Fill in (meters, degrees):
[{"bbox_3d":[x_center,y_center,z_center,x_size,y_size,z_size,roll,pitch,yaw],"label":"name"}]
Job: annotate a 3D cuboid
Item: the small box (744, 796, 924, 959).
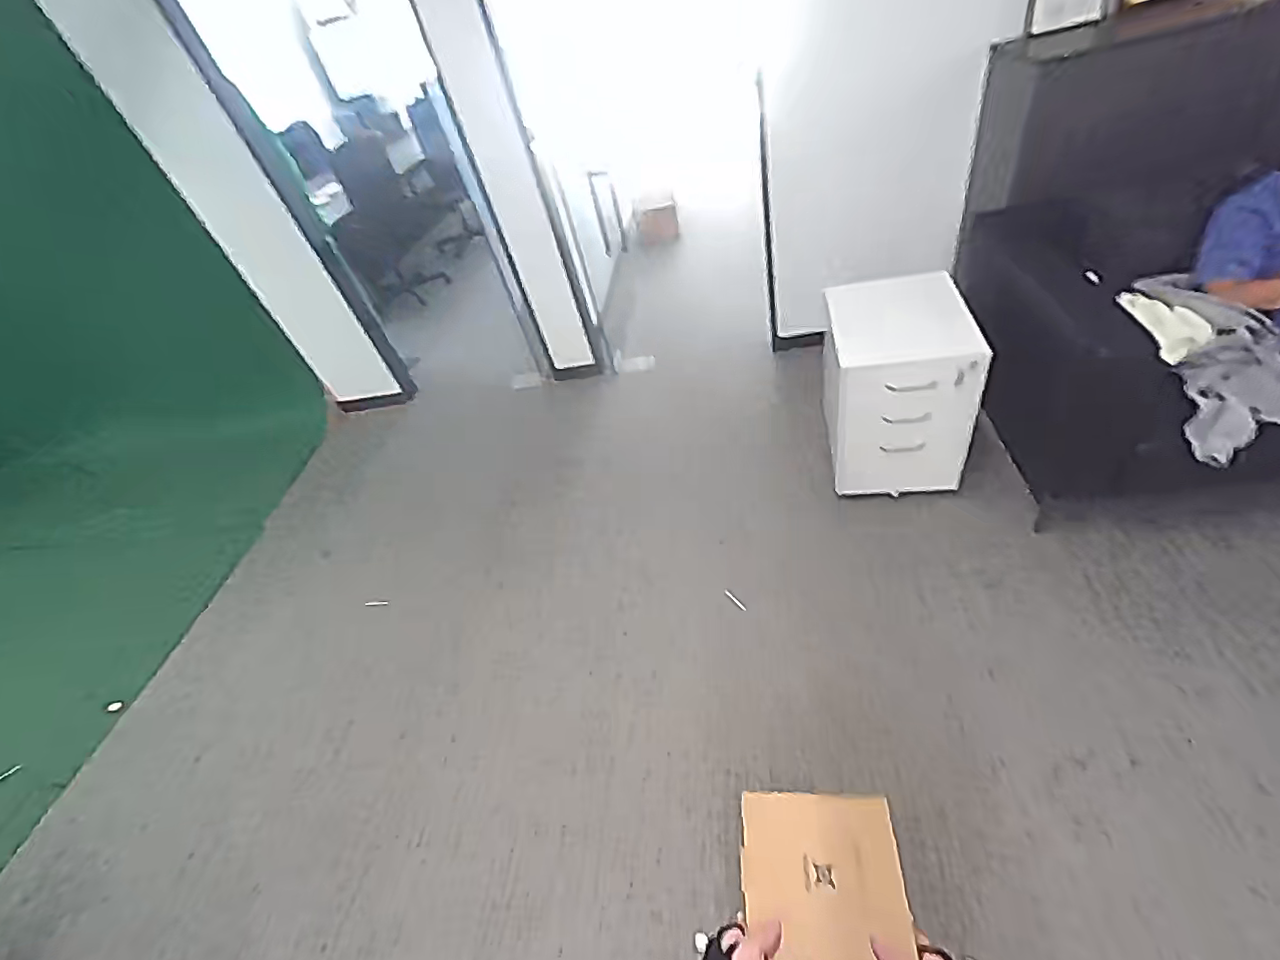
[{"bbox_3d":[0.224,0.505,0.655,0.179,0.176,0.168,-4,41,12],"label":"small box"}]
